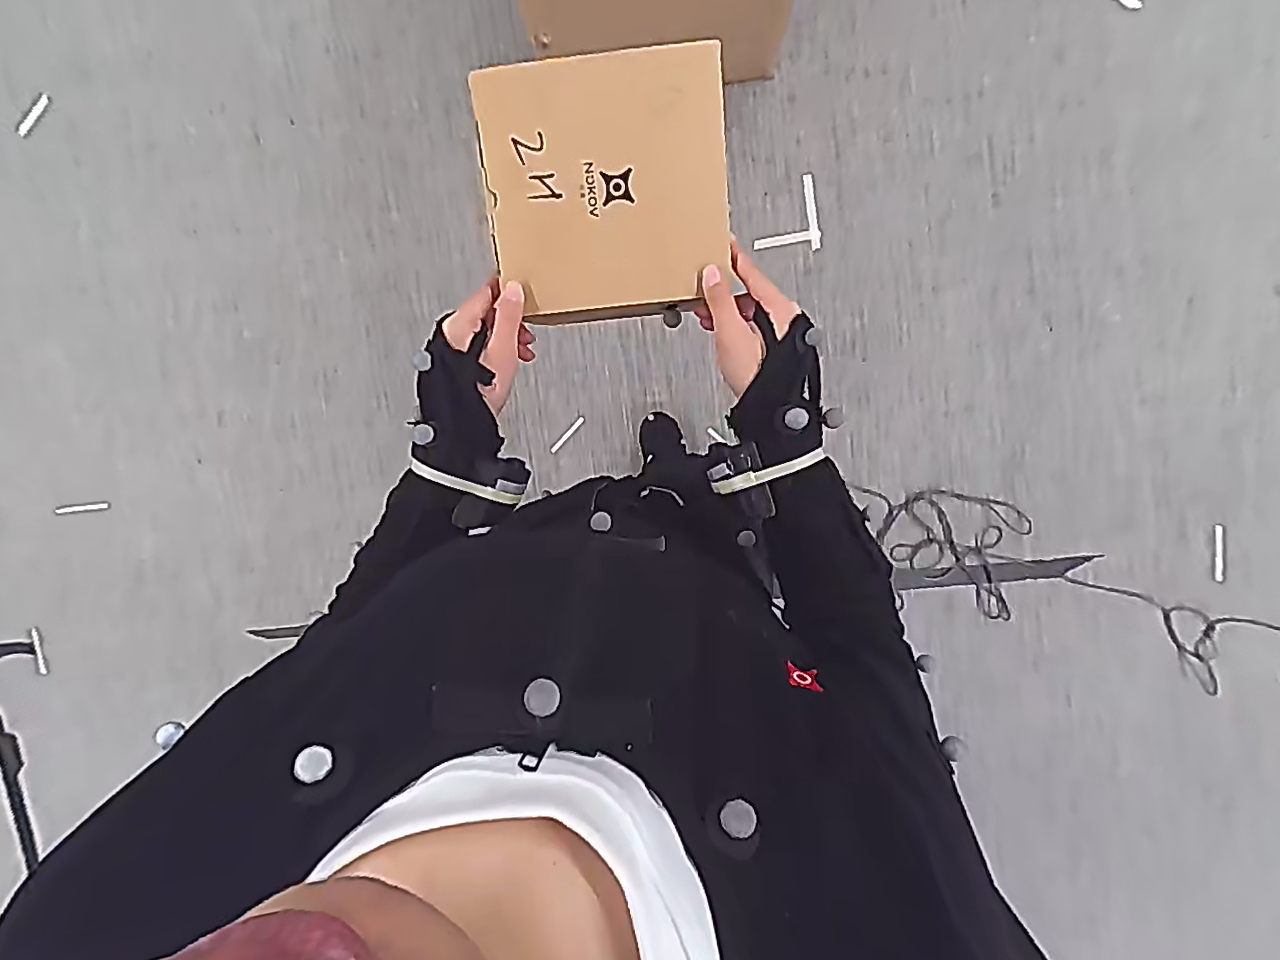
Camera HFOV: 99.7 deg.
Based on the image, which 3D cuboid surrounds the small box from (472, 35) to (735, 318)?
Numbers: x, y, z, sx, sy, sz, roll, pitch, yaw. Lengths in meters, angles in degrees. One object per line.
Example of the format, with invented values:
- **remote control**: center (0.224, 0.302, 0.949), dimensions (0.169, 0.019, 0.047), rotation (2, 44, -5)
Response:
- **small box**: center (-0.021, -0.233, 0.461), dimensions (0.179, 0.176, 0.168), rotation (-5, 103, 3)
